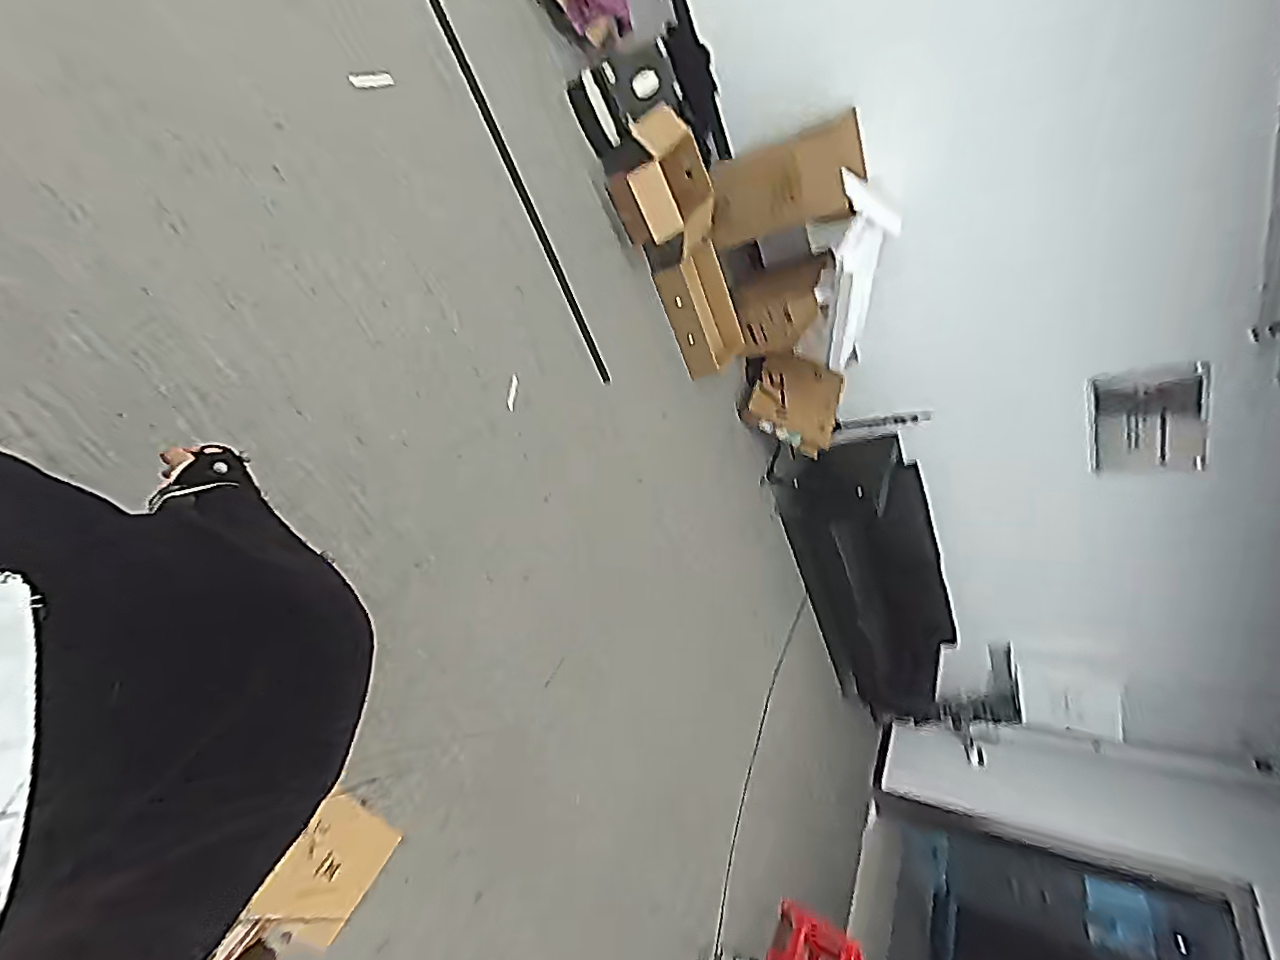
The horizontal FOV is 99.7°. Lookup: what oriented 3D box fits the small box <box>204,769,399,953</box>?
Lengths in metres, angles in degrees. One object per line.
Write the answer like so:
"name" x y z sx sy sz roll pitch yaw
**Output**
"small box" -0.537 0.593 0.864 0.179 0.176 0.168 60 42 -25
